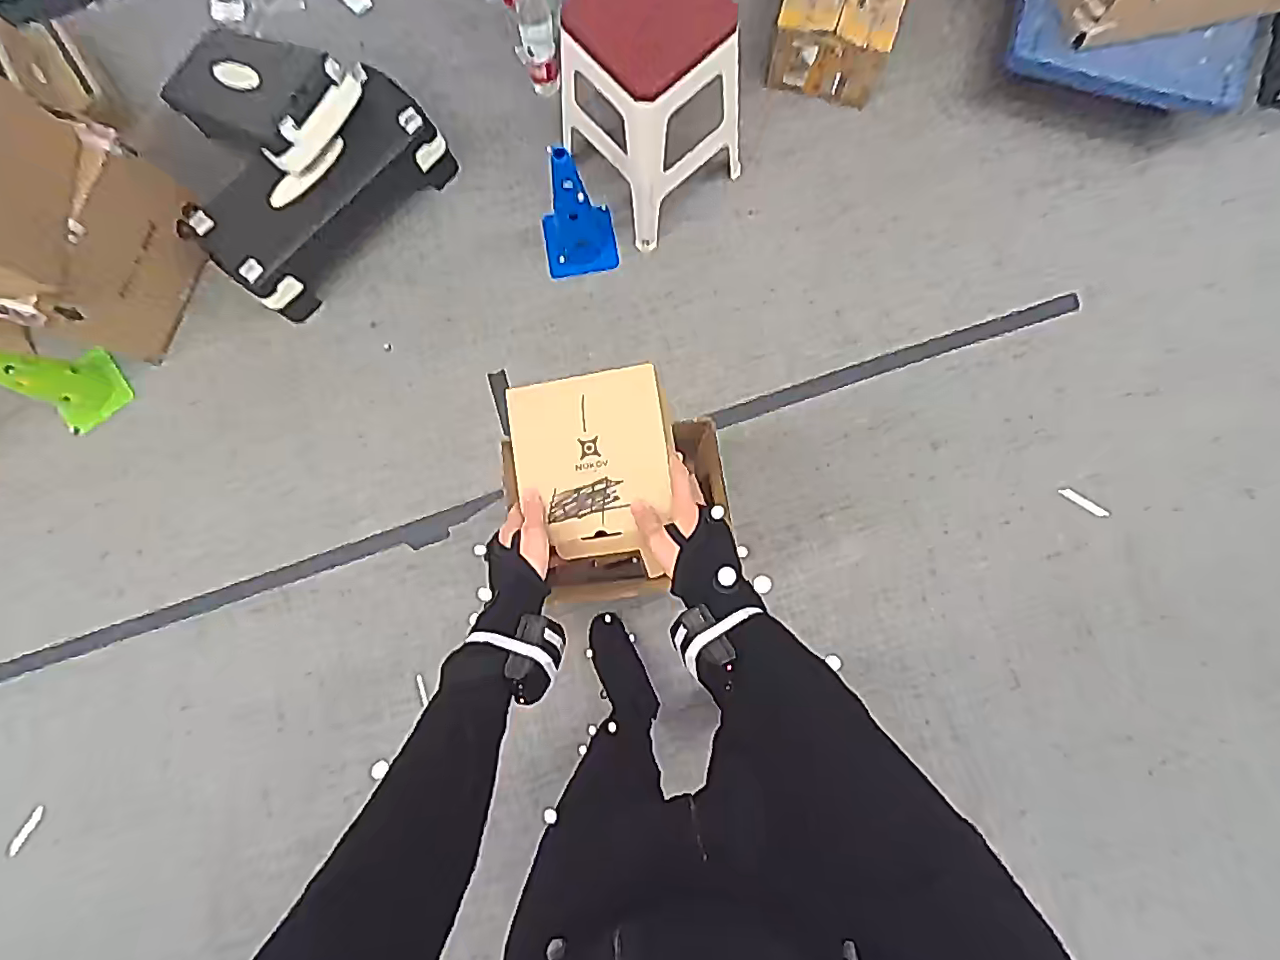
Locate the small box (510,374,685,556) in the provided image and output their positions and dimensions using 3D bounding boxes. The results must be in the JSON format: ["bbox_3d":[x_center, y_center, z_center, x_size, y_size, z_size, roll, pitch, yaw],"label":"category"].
[{"bbox_3d":[-0.040,-0.011,0.652,0.168,0.176,0.179,-9,84,7],"label":"small box"}]
